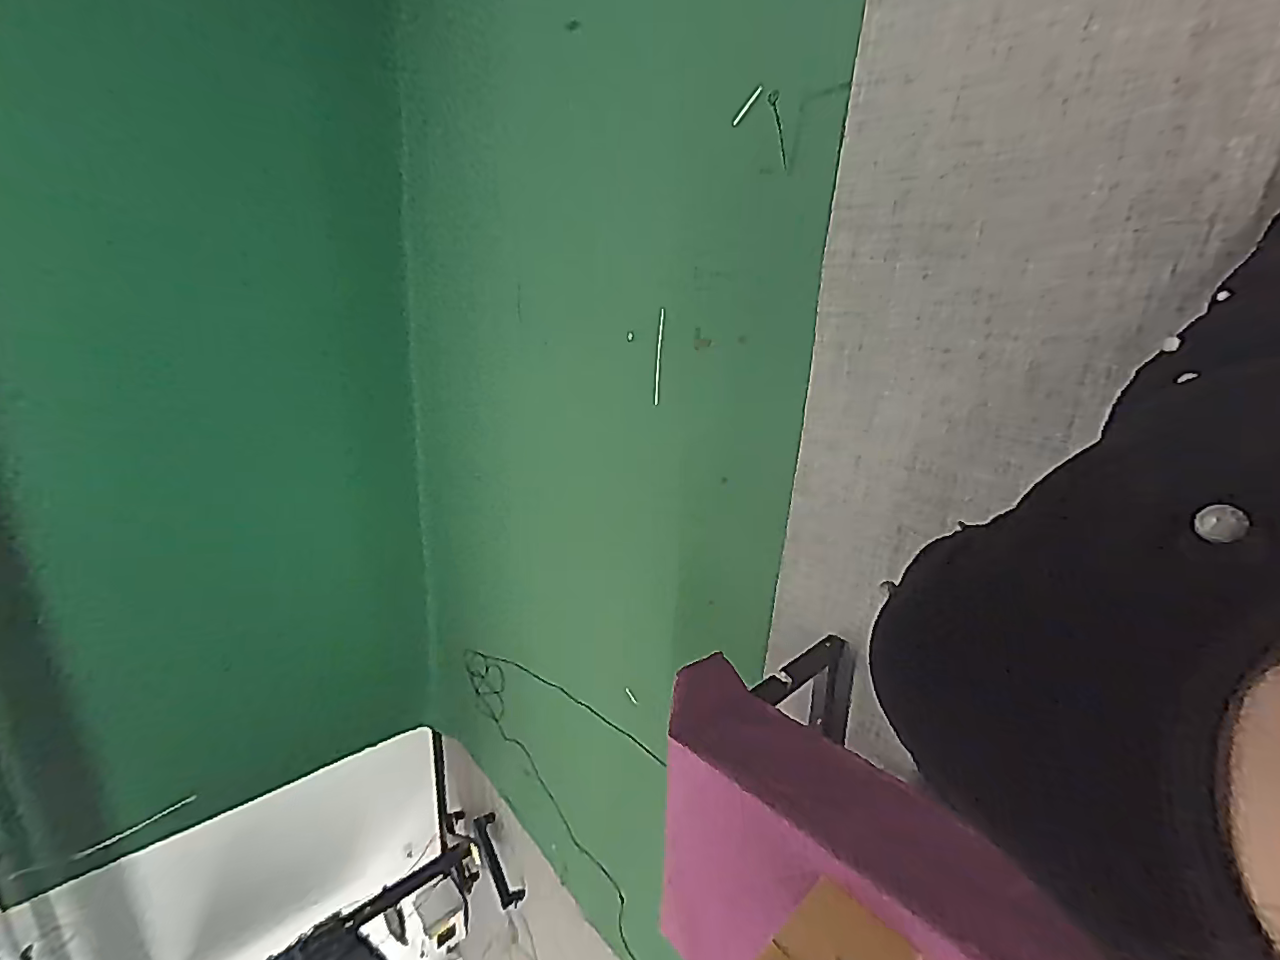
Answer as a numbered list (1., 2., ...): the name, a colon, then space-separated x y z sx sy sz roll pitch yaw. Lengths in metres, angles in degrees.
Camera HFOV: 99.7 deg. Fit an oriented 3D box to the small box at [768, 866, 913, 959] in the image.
1. small box: 0.331 0.811 0.909 0.179 0.176 0.168 19 113 45
